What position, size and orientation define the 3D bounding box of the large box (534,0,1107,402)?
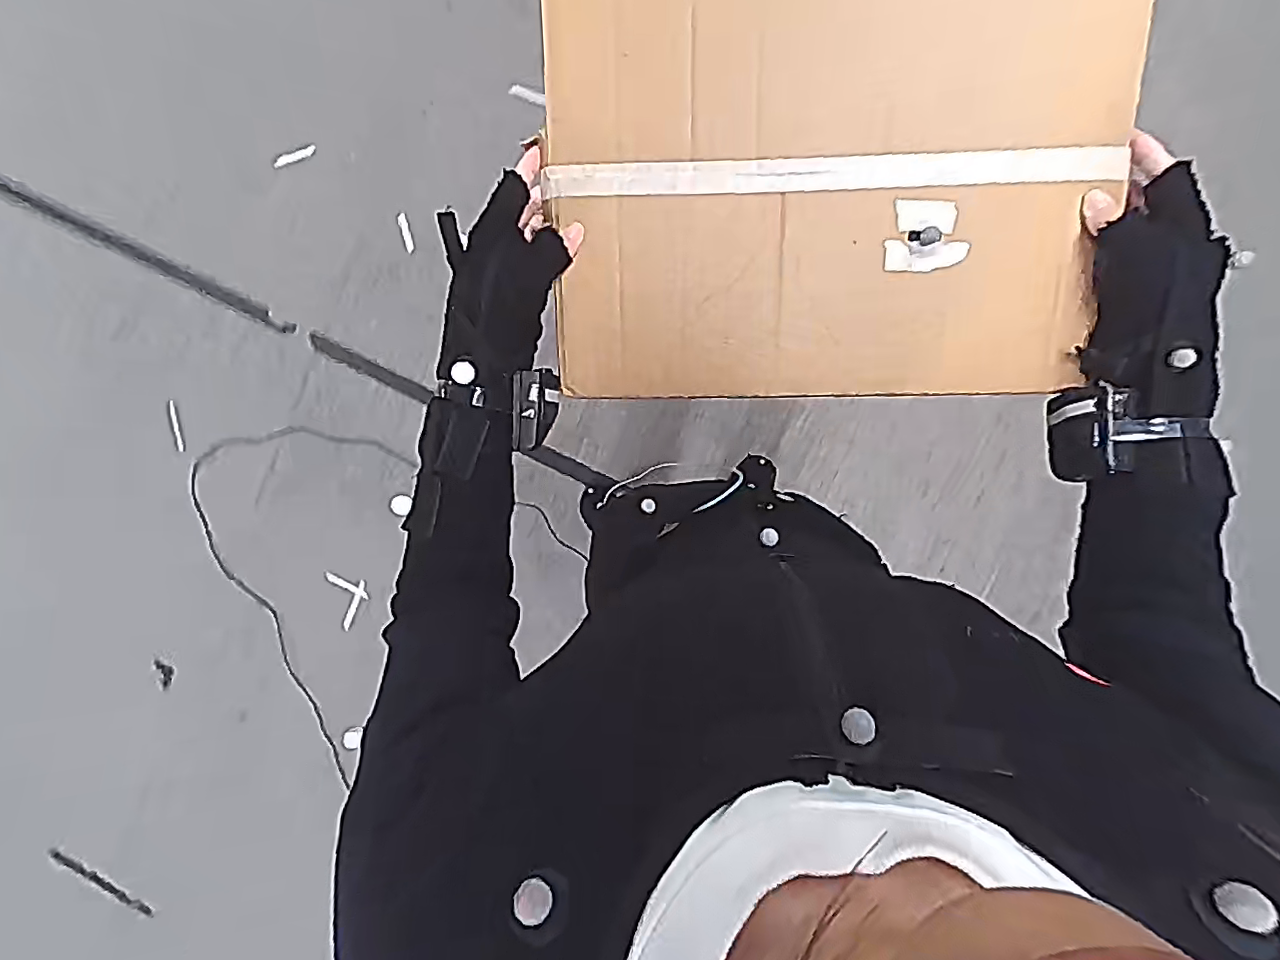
[{"bbox_3d":[0.131,-0.253,0.548,0.408,0.320,0.320,-2,103,2],"label":"large box"}]
